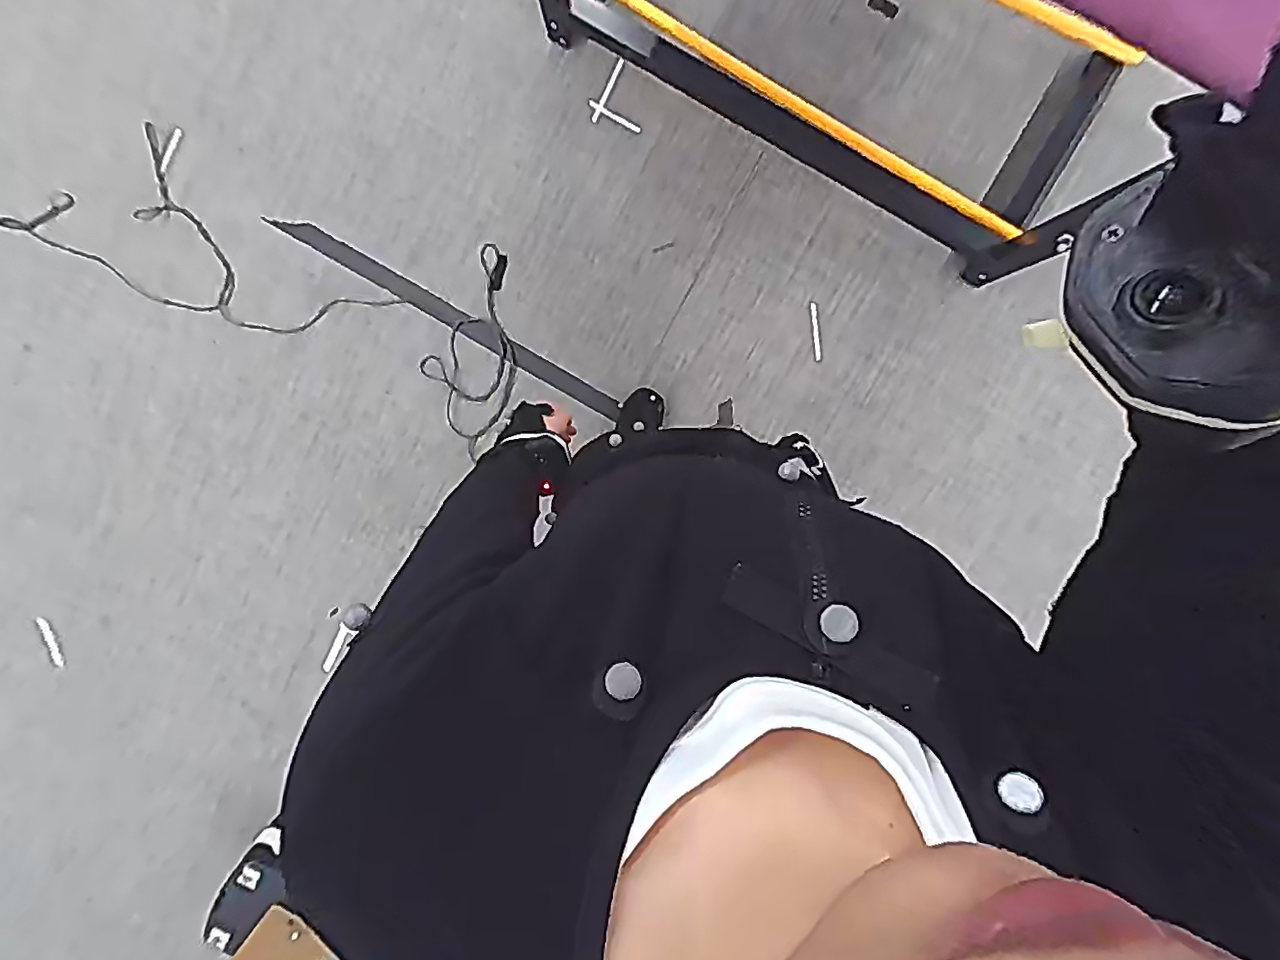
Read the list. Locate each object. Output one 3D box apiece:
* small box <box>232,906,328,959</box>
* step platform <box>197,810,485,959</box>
[{"bbox_3d":[-0.876,1.167,1.266,0.168,0.176,0.179,31,95,-3],"label":"small box"},{"bbox_3d":[-0.781,1.199,1.443,0.684,0.204,0.286,29,97,-3],"label":"step platform"}]
